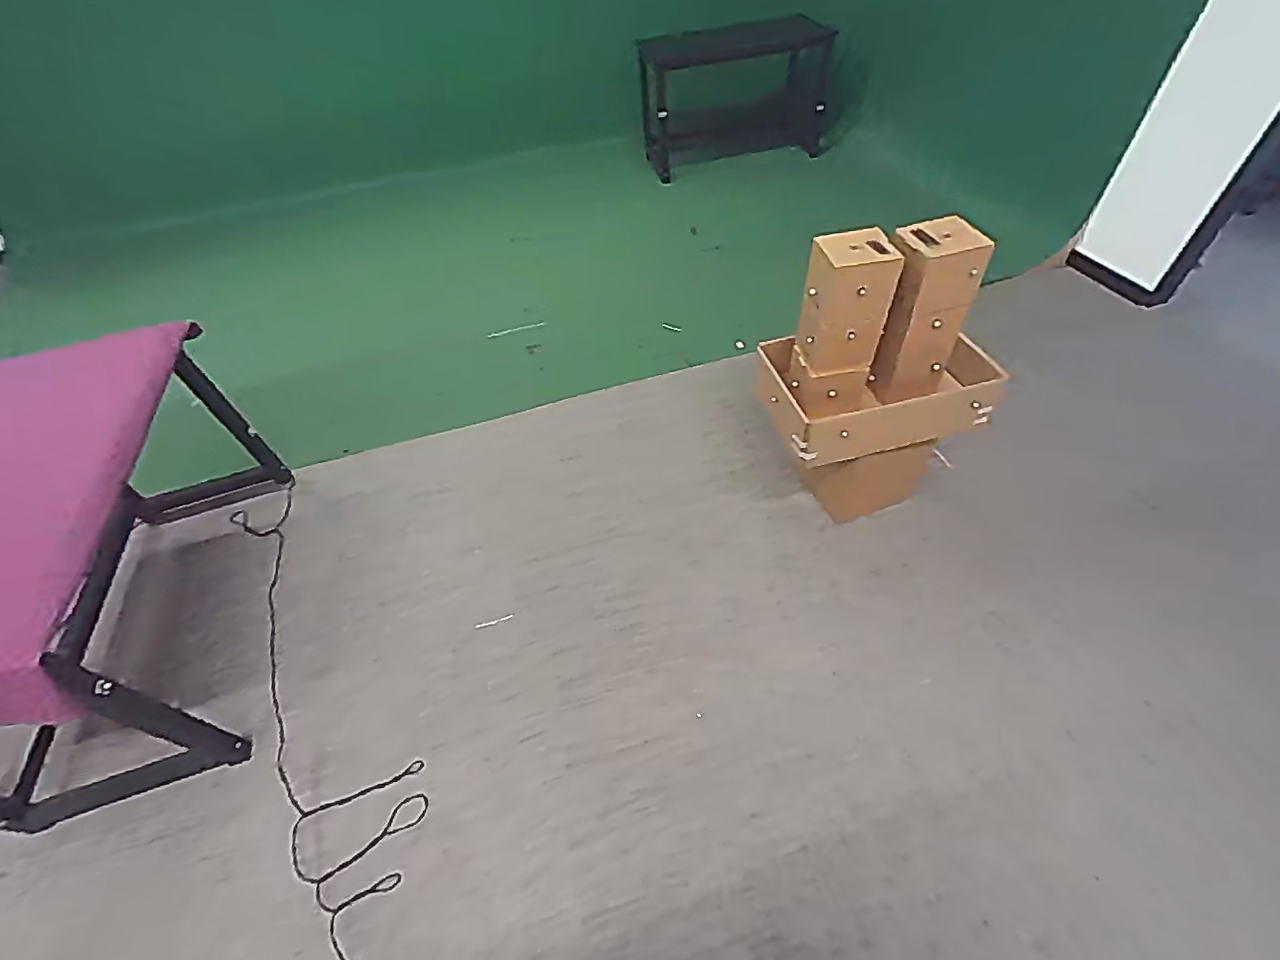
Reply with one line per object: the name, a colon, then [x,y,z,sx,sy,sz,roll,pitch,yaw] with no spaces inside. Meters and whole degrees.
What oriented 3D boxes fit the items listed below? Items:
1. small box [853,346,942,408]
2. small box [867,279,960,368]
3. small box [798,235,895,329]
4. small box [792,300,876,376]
small box: [0.800,-0.352,1.702,0.179,0.176,0.168,-14,49,-5]
small box: [0.782,-0.455,1.580,0.179,0.176,0.168,-16,50,-4]
small box: [0.542,-0.526,1.444,0.179,0.176,0.168,-9,50,-2]
small box: [0.551,-0.419,1.568,0.179,0.176,0.168,-8,50,-3]
